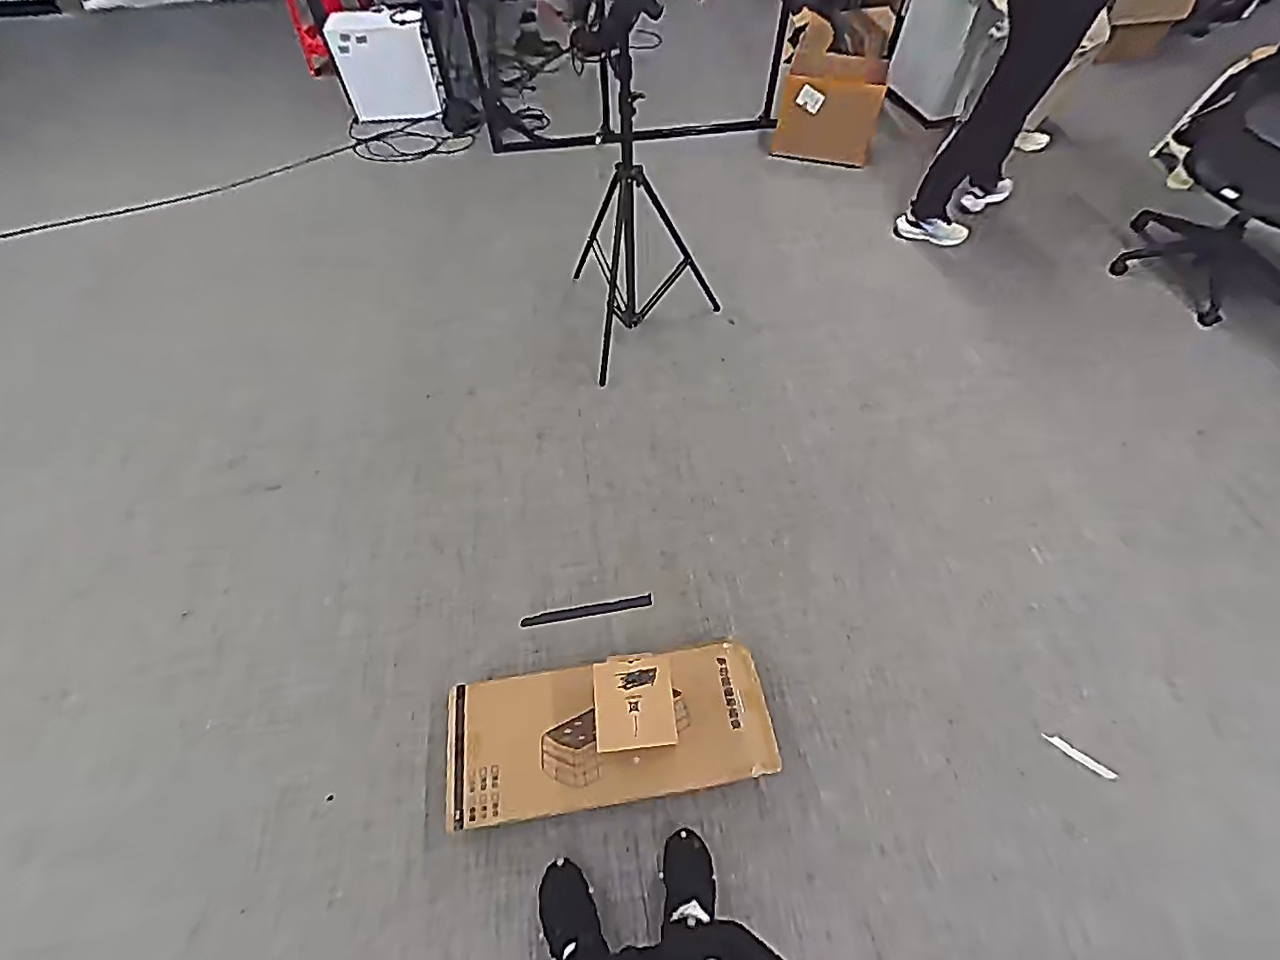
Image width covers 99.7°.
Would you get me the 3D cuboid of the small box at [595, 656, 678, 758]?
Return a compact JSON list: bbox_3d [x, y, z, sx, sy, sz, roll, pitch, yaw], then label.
[{"bbox_3d":[-0.011,0.503,1.193,0.168,0.176,0.179,-5,59,-2],"label":"small box"}]
